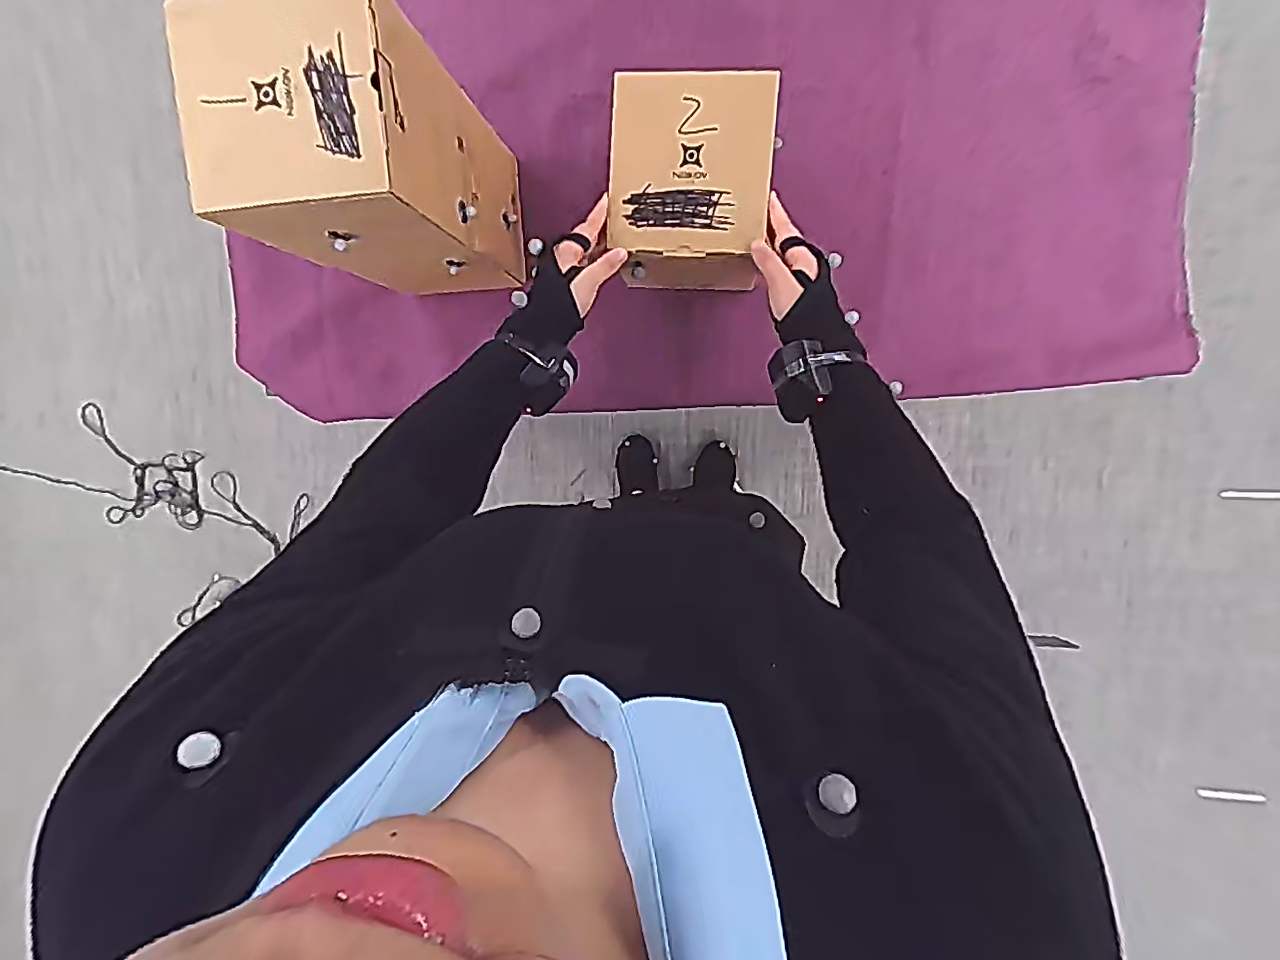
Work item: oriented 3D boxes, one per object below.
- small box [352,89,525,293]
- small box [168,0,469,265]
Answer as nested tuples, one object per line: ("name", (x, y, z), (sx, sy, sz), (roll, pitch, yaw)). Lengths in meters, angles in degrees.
("small box", (-0.257, -0.336, 0.666), (0.179, 0.176, 0.168), (-3, 97, 6))
("small box", (-0.272, -0.312, 0.504), (0.179, 0.176, 0.168), (-3, 96, 7))
